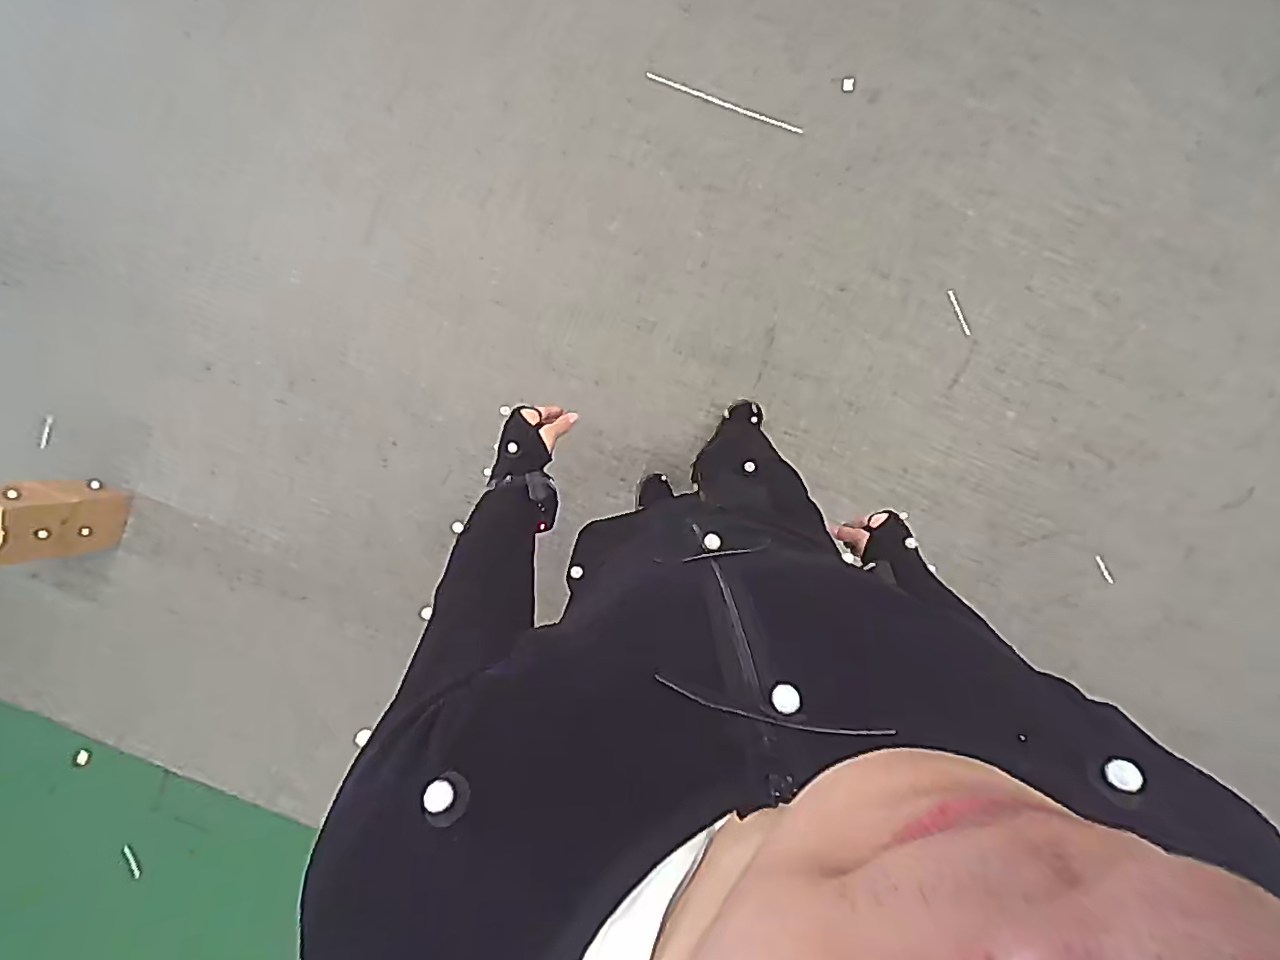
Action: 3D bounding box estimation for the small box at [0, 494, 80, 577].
[{"bbox_3d":[-1.669,0.139,1.439,0.179,0.176,0.168,17,93,0],"label":"small box"}]

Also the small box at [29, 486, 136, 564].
[{"bbox_3d":[-1.662,0.127,1.602,0.168,0.176,0.179,20,92,0],"label":"small box"}]
